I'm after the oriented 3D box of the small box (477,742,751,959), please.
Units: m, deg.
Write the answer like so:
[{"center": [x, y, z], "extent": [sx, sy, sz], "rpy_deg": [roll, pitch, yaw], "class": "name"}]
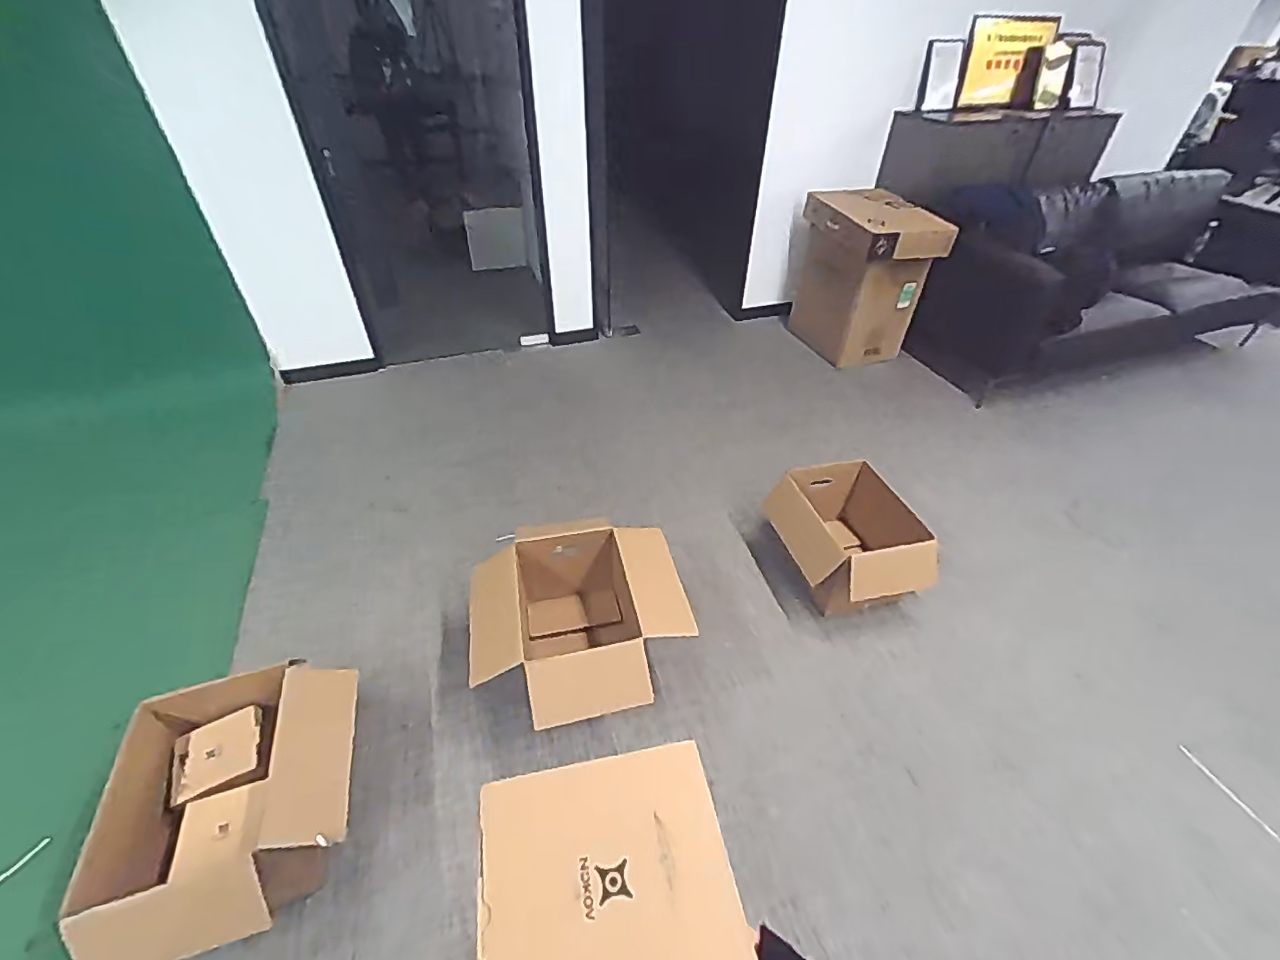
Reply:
[{"center": [-0.025, 0.340, 0.431], "extent": [0.179, 0.176, 0.168], "rpy_deg": [-7, 43, -10], "class": "small box"}]
